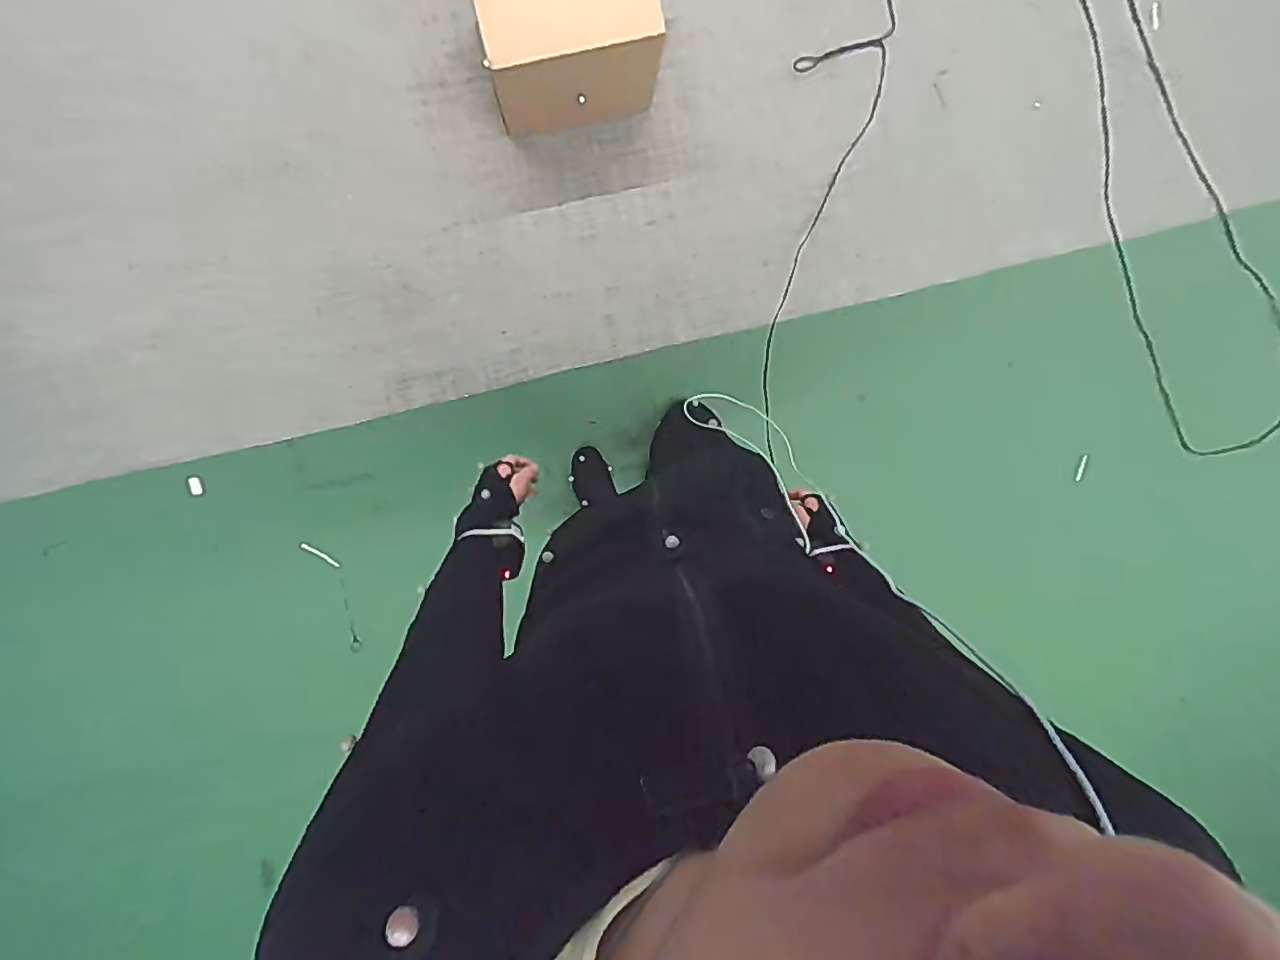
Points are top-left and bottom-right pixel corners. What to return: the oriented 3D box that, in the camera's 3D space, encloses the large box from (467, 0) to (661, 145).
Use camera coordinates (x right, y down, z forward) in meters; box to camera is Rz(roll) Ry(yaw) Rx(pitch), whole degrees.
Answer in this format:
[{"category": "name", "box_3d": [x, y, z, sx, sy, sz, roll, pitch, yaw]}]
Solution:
[{"category": "large box", "box_3d": [-0.191, -1.104, 1.340, 0.408, 0.320, 0.320, -16, 97, -3]}]
